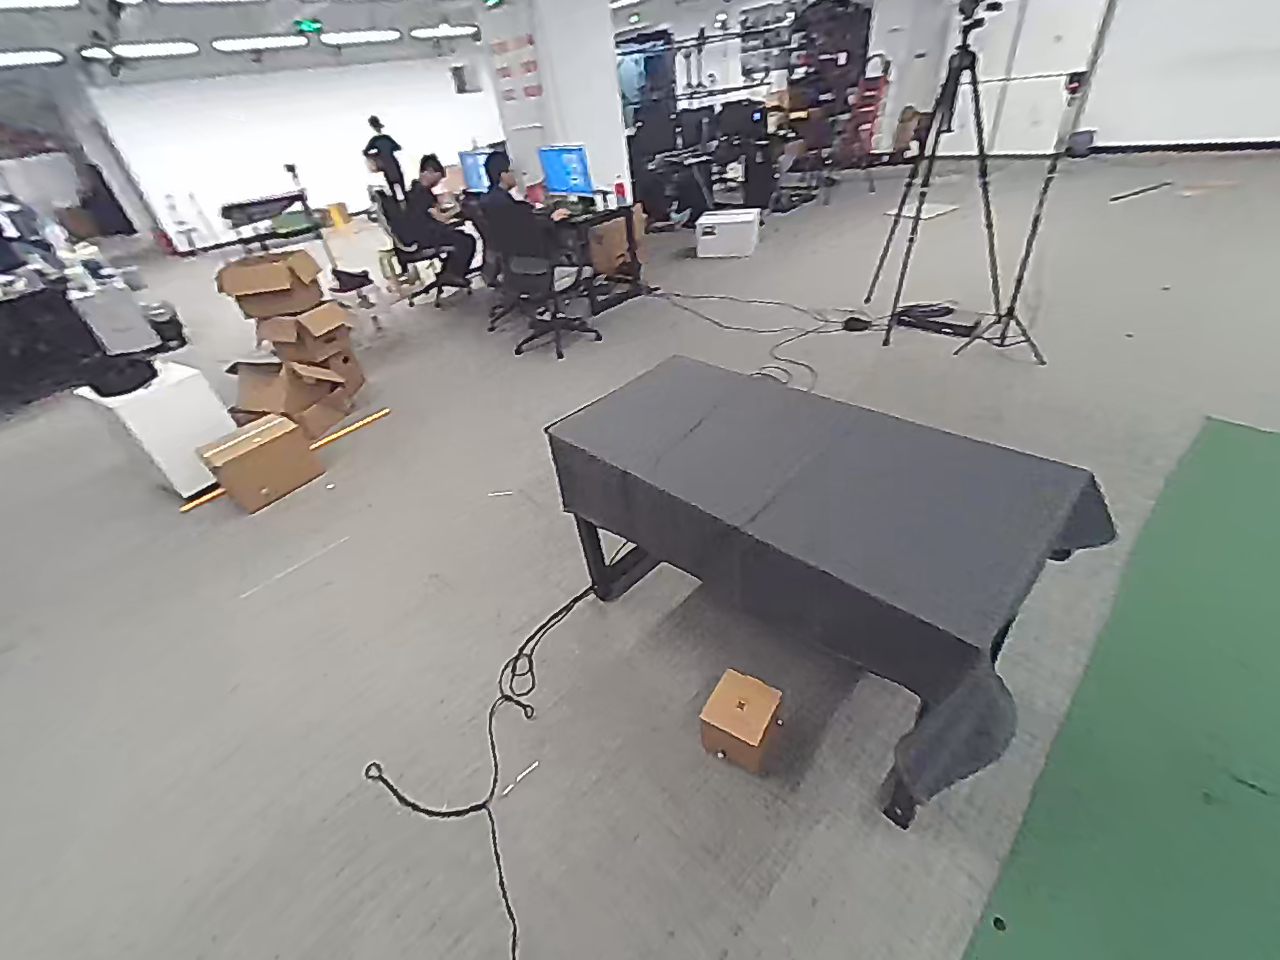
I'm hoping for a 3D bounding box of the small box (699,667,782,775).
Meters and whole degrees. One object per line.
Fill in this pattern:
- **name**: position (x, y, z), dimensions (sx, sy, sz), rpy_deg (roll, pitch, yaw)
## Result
- **small box**: position (0.275, 0.659, 1.481), dimensions (0.168, 0.176, 0.179), rpy_deg (17, 42, 31)
